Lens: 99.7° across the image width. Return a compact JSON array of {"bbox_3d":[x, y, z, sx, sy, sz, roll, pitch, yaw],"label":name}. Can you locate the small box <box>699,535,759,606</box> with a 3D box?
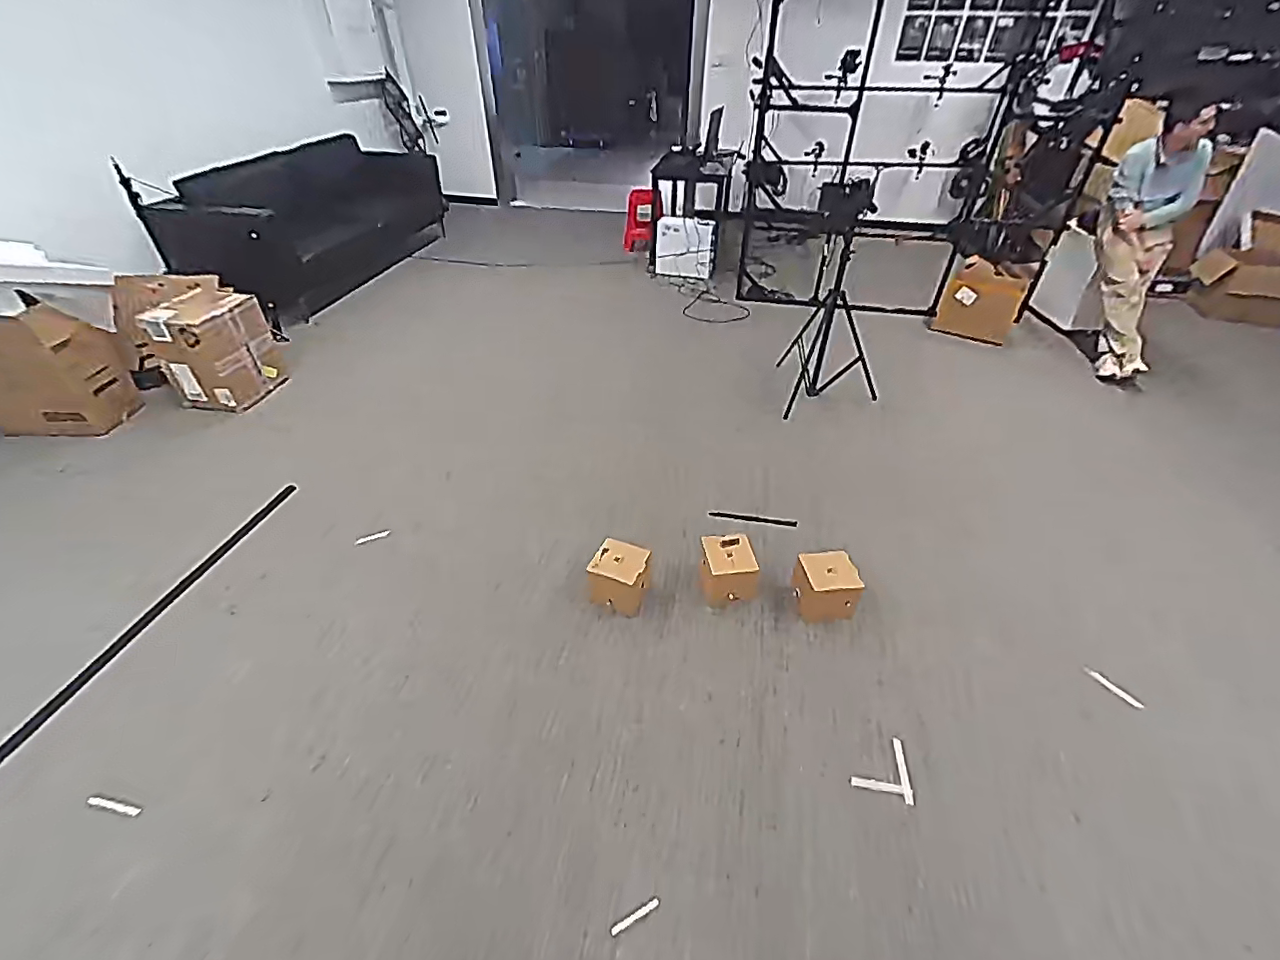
[{"bbox_3d":[0.309,0.322,1.923,0.168,0.176,0.179,-5,40,-6],"label":"small box"}]

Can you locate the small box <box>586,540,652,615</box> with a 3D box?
[{"bbox_3d":[-0.070,0.345,1.895,0.179,0.176,0.168,15,41,18],"label":"small box"}]

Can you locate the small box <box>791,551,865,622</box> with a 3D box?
[{"bbox_3d":[0.642,0.370,1.870,0.179,0.176,0.168,-5,38,-6],"label":"small box"}]
